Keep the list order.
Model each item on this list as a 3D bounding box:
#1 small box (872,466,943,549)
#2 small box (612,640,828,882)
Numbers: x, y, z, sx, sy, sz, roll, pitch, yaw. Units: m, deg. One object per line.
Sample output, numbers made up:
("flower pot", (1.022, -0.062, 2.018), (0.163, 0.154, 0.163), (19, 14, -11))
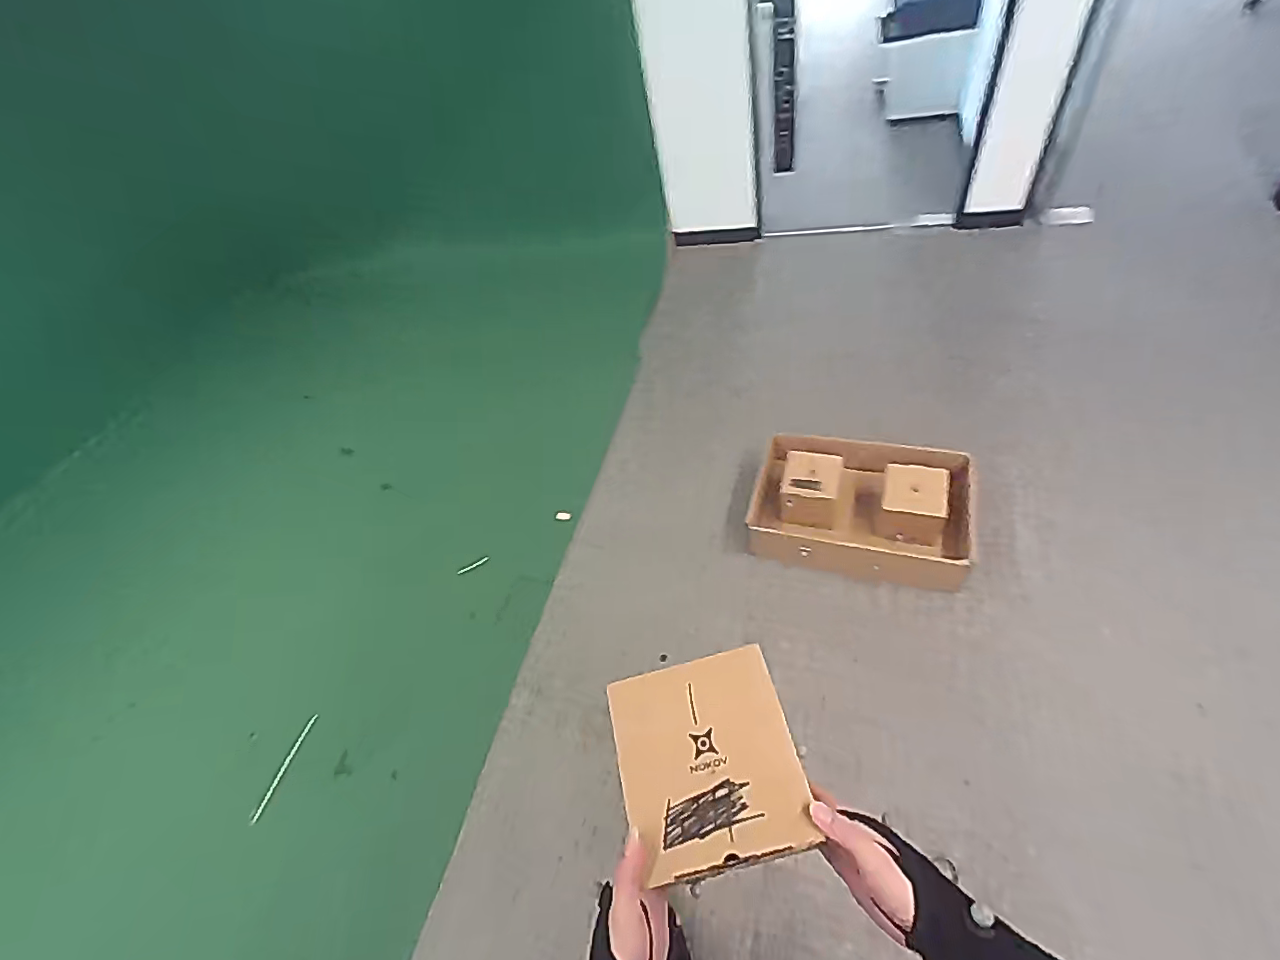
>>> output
("small box", (0.807, 0.084, 1.638), (0.168, 0.176, 0.179), (8, 55, 21))
("small box", (0.079, 0.294, 0.562), (0.168, 0.176, 0.179), (-15, 51, 1))
